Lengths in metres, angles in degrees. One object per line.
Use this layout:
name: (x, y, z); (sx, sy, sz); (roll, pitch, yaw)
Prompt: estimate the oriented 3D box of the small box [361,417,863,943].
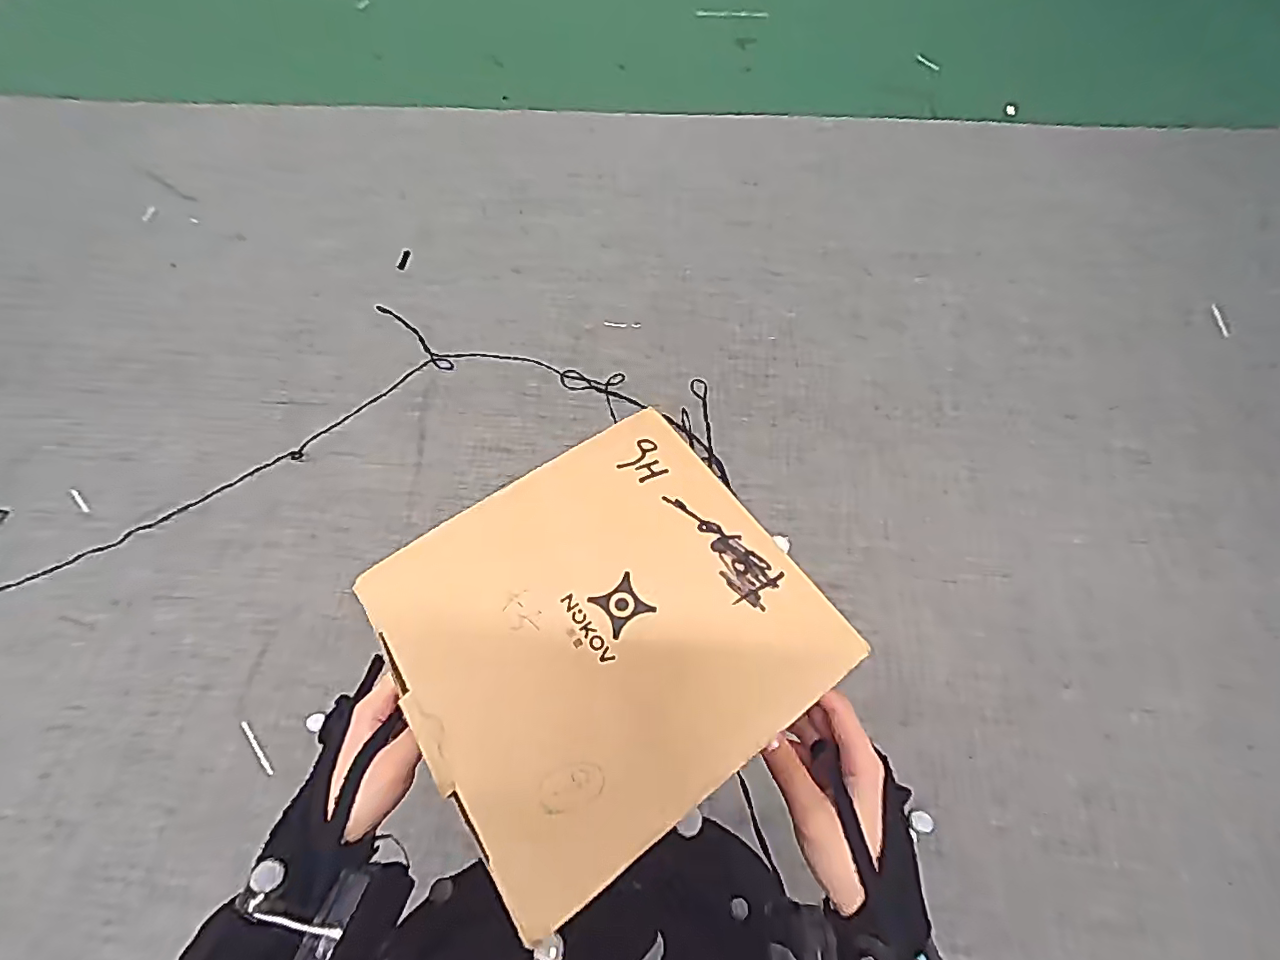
small box: (-0.015, 0.104, 0.313); (0.179, 0.176, 0.168); (-32, 65, -16)
